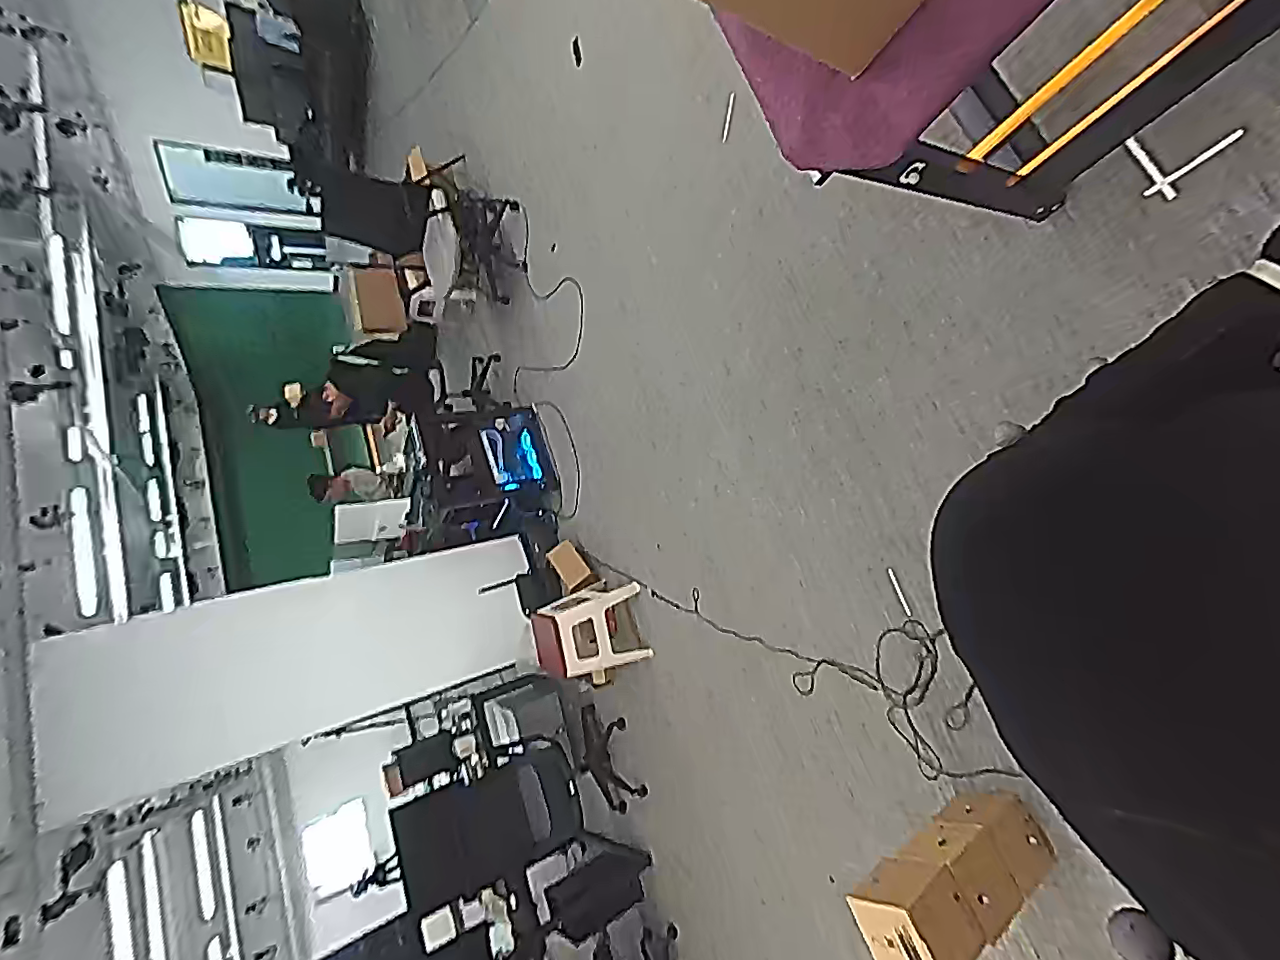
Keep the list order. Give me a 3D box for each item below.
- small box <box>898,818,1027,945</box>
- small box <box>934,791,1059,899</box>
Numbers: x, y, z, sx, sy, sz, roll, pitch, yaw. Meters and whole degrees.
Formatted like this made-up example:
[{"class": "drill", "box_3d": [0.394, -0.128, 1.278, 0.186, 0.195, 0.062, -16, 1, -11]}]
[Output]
[{"class": "small box", "box_3d": [0.760, 0.932, 1.277, 0.168, 0.176, 0.179, -45, 63, 52]}, {"class": "small box", "box_3d": [0.896, 0.908, 1.363, 0.179, 0.176, 0.168, -48, 61, 51]}]
